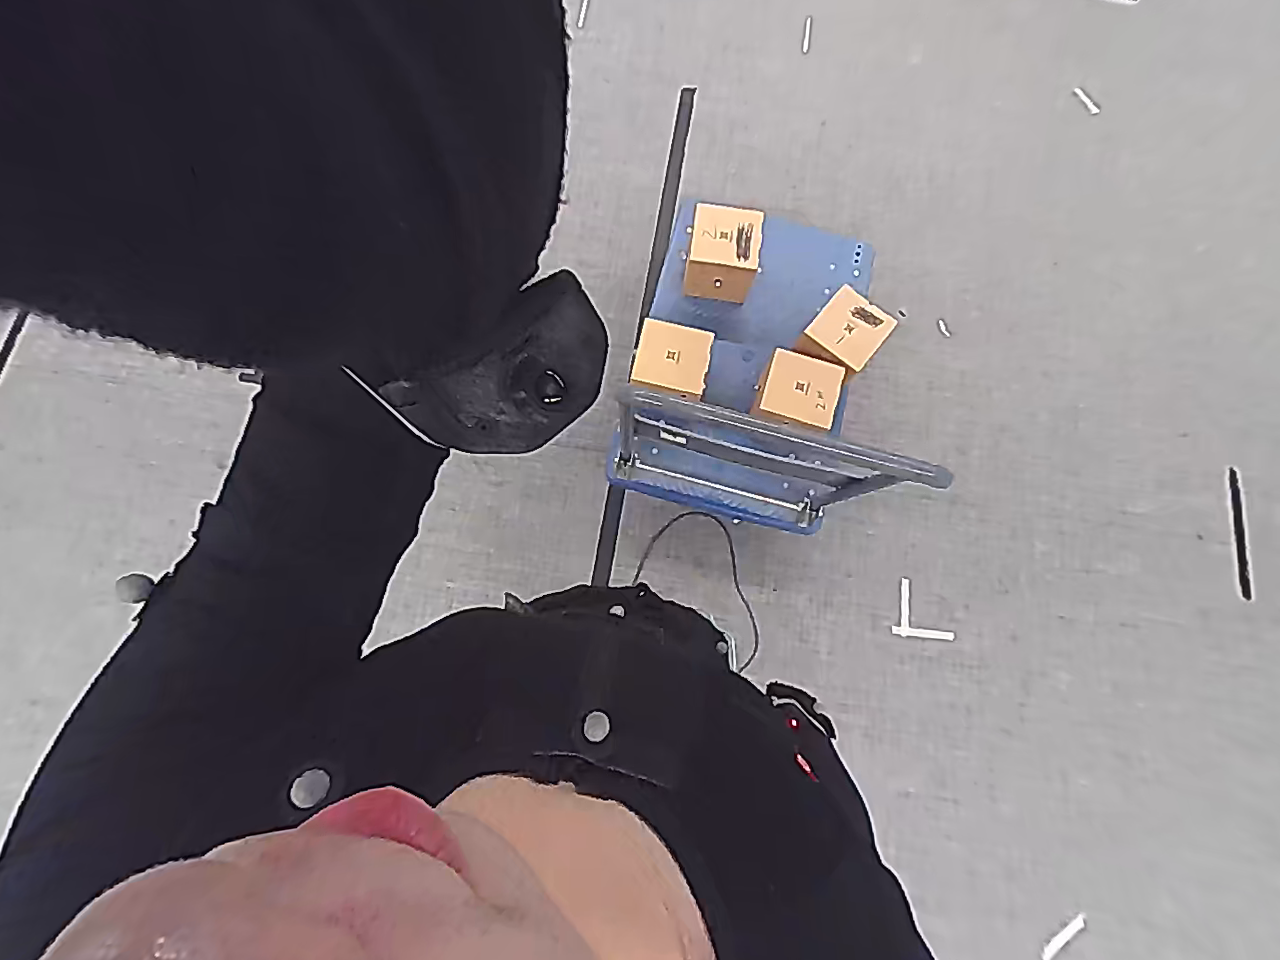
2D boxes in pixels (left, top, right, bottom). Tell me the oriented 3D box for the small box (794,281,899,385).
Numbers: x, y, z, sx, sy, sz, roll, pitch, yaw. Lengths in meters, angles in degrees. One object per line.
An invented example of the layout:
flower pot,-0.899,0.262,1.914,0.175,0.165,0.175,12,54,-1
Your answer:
small box,0.516,-0.364,1.390,0.168,0.176,0.179,40,81,7

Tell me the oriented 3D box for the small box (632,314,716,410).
small box,0.080,-0.290,1.368,0.179,0.176,0.168,13,79,0

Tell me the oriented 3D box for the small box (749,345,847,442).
small box,0.386,-0.208,1.356,0.179,0.176,0.168,18,79,3
